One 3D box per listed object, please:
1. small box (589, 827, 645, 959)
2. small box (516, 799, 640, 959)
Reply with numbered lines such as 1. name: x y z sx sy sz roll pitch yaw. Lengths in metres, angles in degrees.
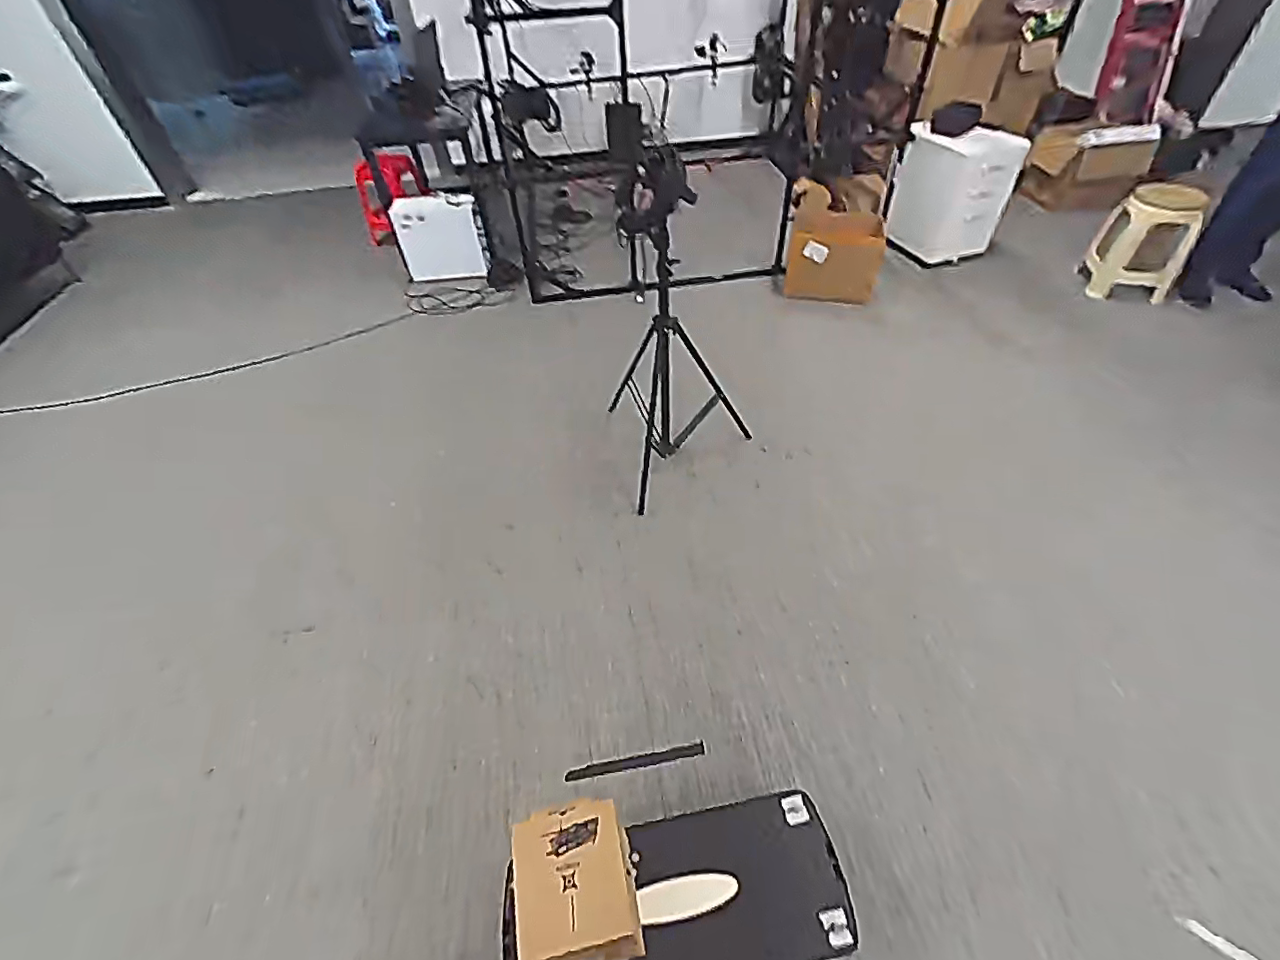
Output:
1. small box: -0.087 0.759 0.973 0.168 0.176 0.179 -10 47 -5
2. small box: -0.097 0.642 0.858 0.168 0.176 0.179 -11 47 -6
